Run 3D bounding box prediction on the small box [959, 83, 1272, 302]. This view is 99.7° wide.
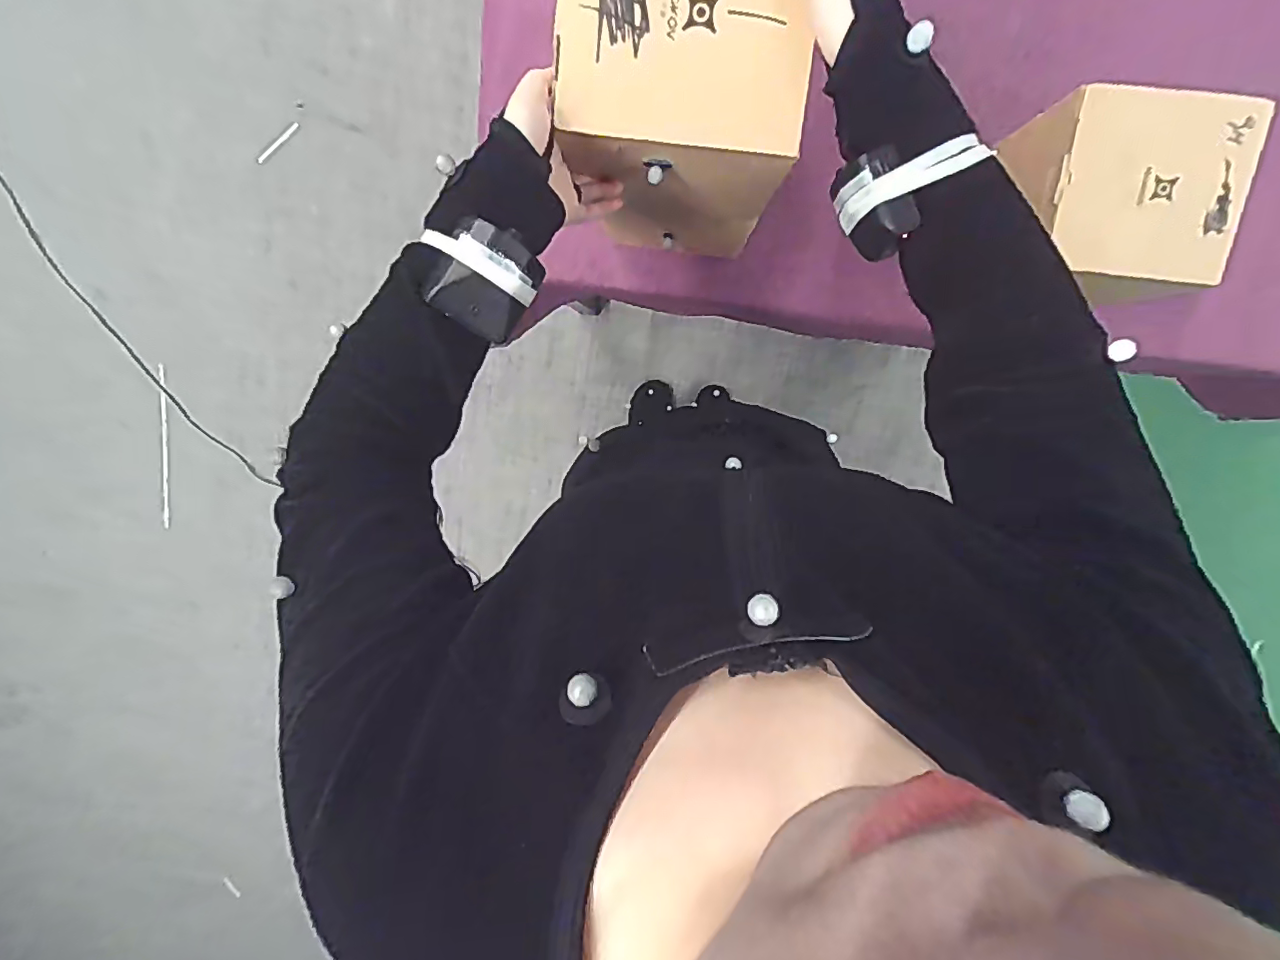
[{"bbox_3d":[0.488,-0.295,0.591,0.179,0.176,0.168,7,102,3],"label":"small box"}]

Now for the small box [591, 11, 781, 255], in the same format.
[{"bbox_3d":[0.046,-0.364,0.603,0.168,0.176,0.179,8,101,1],"label":"small box"}]
